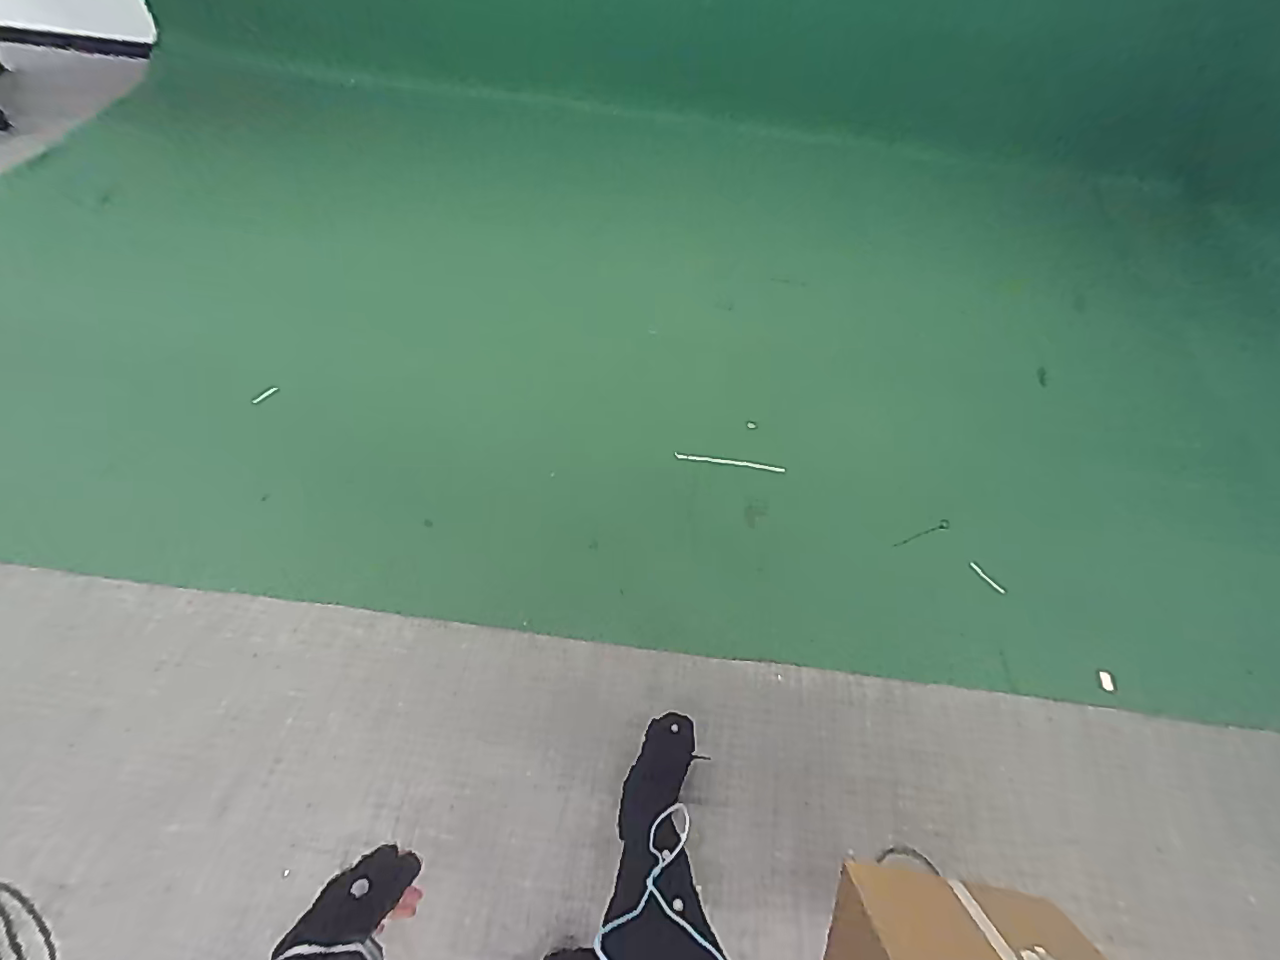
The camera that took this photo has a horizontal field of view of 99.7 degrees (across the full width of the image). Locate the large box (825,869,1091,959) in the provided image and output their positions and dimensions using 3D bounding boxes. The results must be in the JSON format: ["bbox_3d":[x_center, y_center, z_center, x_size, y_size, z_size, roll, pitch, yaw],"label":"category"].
[{"bbox_3d":[0.412,0.746,0.594,0.320,0.408,0.320,12,90,2],"label":"large box"}]
